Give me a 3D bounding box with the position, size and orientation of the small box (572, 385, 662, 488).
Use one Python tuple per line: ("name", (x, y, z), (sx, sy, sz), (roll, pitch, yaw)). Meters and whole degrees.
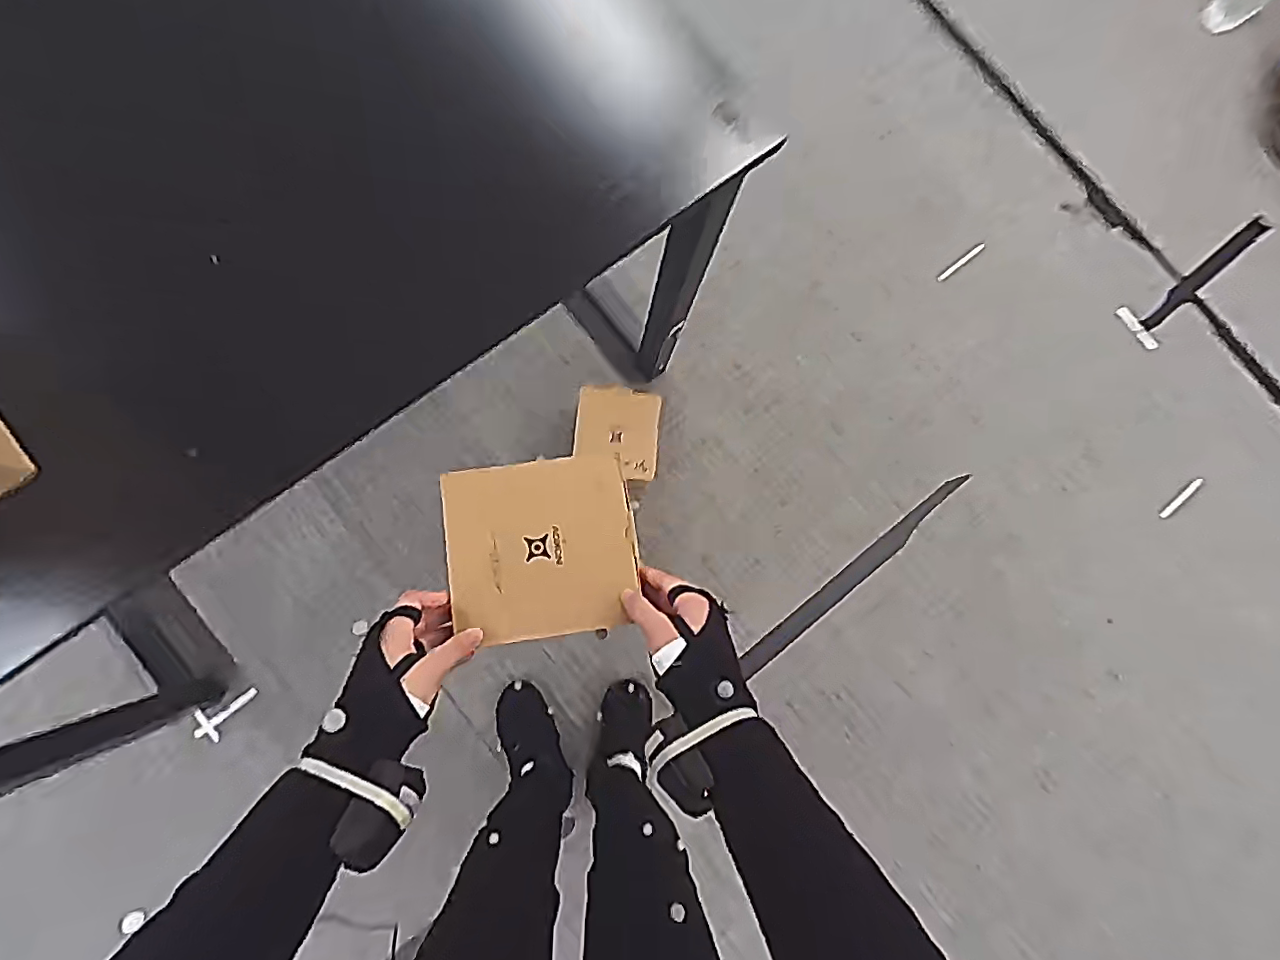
("small box", (-0.053, -0.085, 1.140), (0.168, 0.176, 0.179), (6, 83, -5))
